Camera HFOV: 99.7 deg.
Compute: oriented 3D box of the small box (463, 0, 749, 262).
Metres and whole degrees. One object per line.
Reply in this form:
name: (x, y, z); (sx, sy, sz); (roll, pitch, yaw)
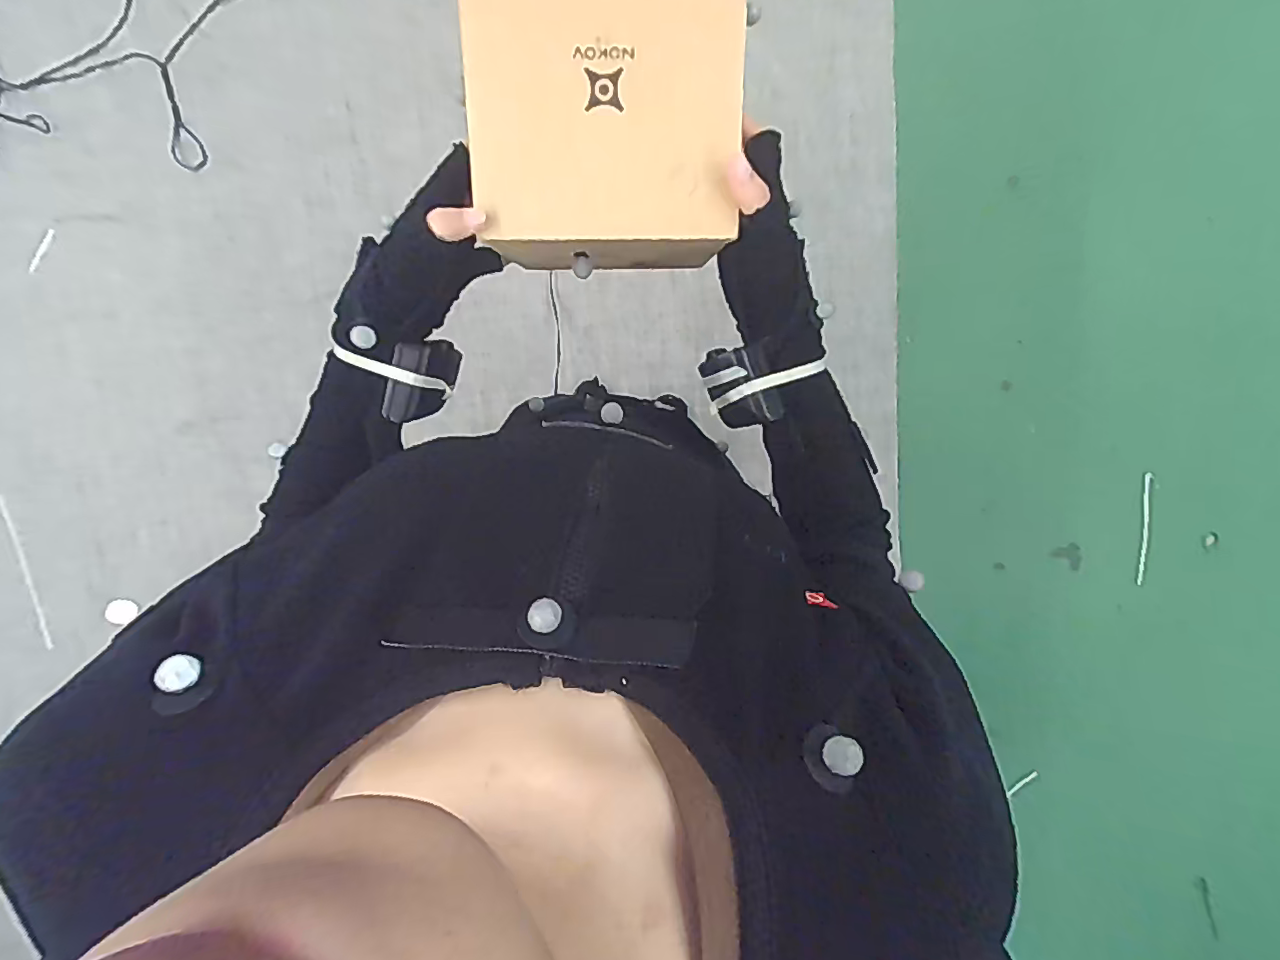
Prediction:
small box: (-0.019, -0.260, 0.391); (0.168, 0.176, 0.179); (-1, 104, -1)
